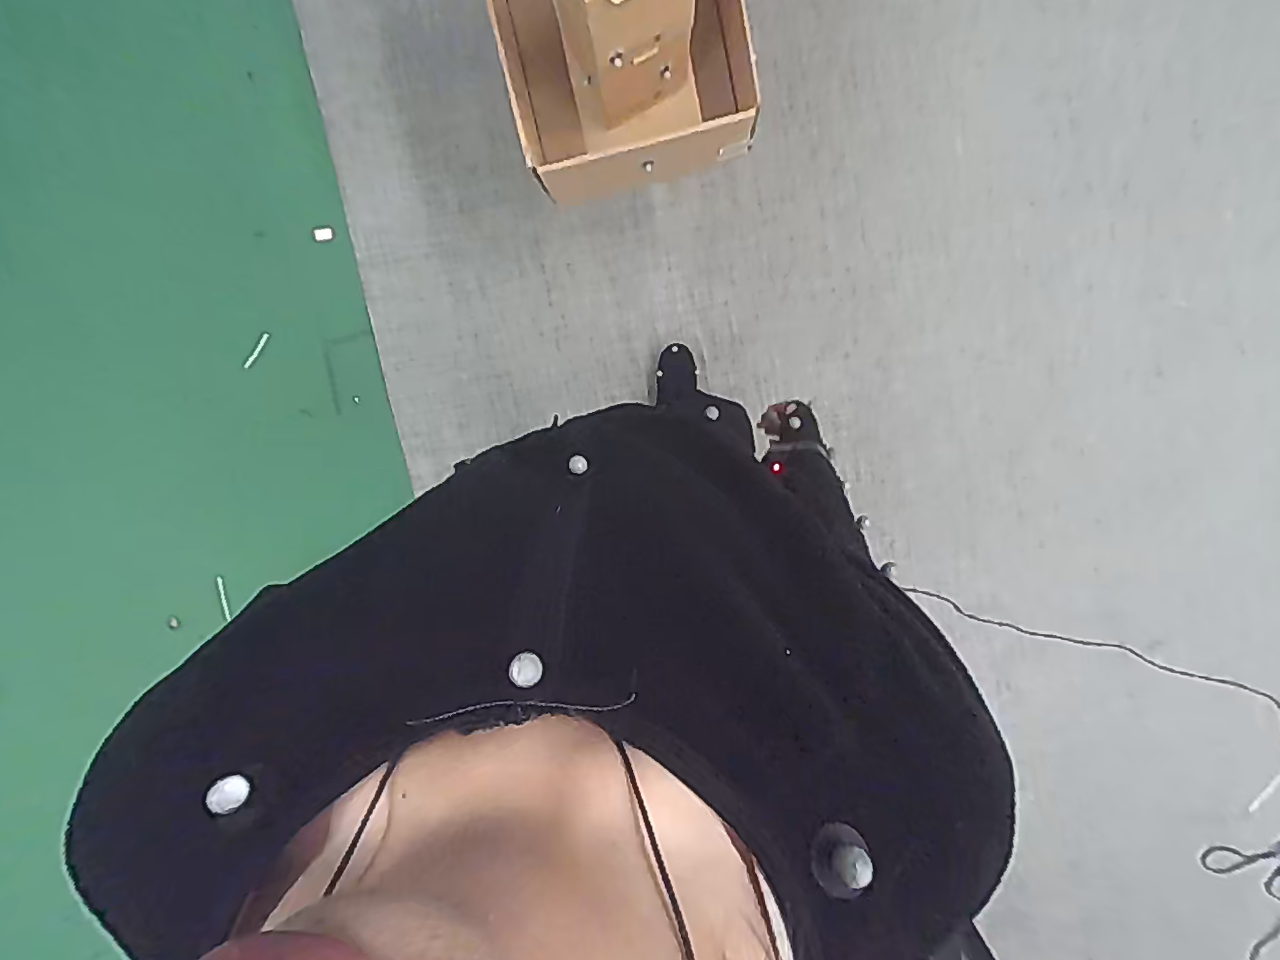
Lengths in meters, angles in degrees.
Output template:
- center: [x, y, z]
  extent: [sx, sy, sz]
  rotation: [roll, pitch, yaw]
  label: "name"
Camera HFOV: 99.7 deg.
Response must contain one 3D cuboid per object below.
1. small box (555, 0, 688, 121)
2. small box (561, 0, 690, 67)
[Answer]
- center: [-0.028, -0.748, 0.910]
  extent: [0.168, 0.176, 0.179]
  rotation: [-25, 96, 5]
  label: "small box"
- center: [-0.033, -0.724, 0.748]
  extent: [0.168, 0.176, 0.179]
  rotation: [-26, 95, 5]
  label: "small box"
